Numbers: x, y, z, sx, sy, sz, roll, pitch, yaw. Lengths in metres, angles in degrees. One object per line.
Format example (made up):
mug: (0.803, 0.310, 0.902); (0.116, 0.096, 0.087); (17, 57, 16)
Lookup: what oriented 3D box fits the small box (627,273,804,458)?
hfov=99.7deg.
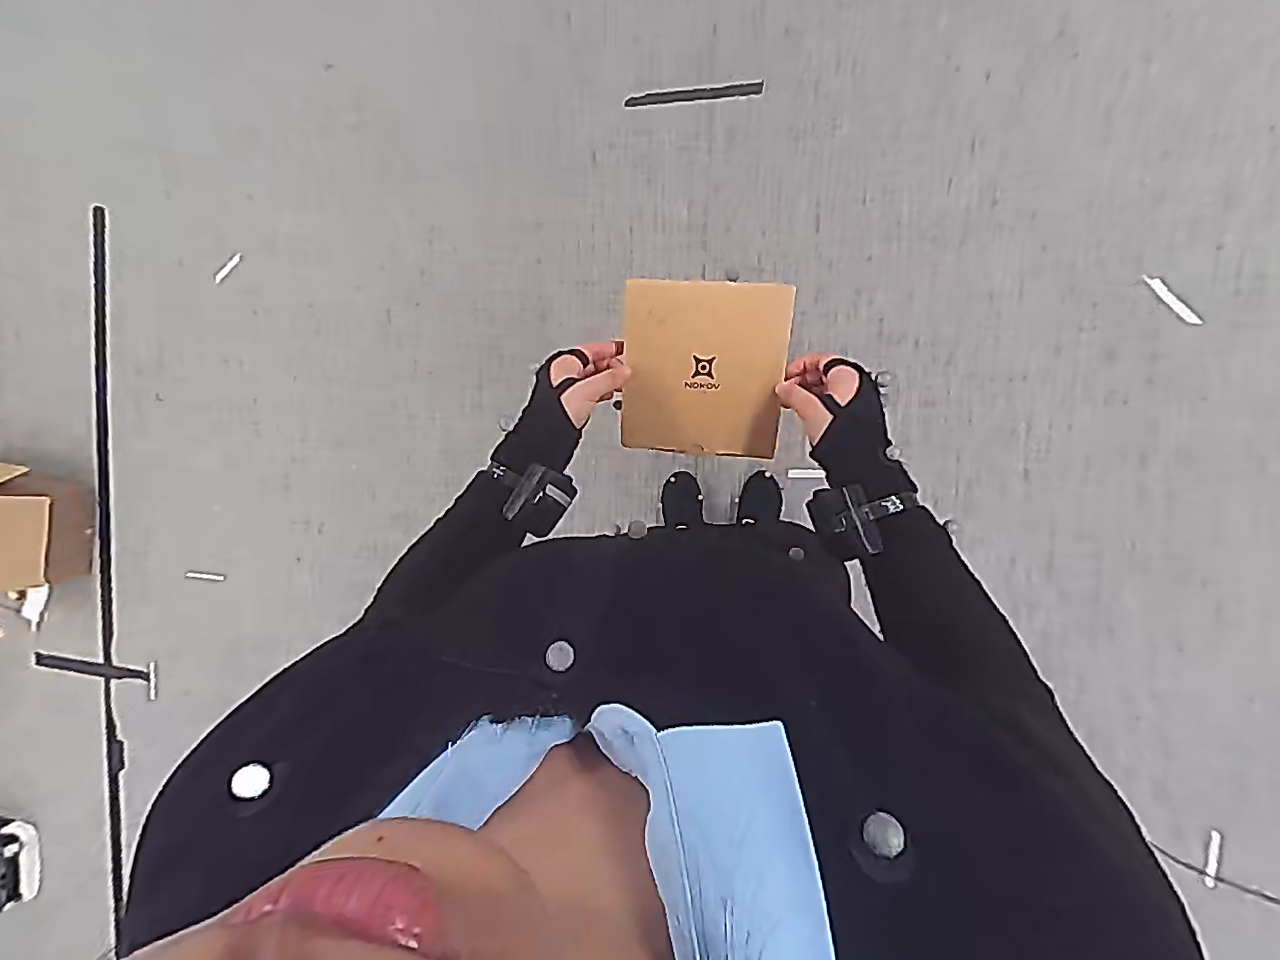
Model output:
small box: (0.080, -0.138, 0.615); (0.168, 0.176, 0.179); (5, 112, 7)
